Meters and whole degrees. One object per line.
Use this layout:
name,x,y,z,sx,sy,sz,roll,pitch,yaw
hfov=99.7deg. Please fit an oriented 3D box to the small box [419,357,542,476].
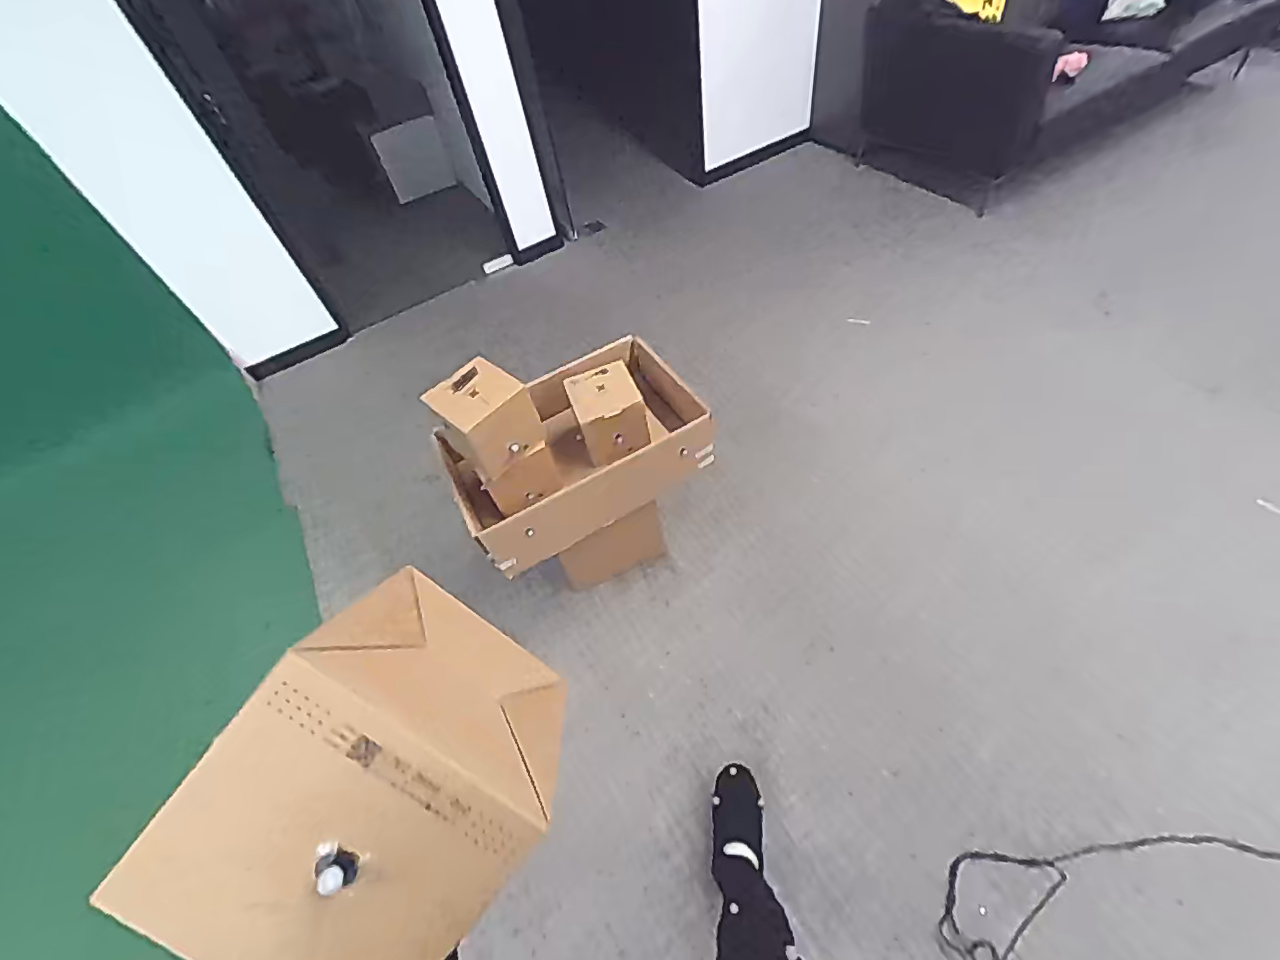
small box,-0.349,-0.138,1.206,0.179,0.176,0.168,34,65,29

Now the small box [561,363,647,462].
small box,-0.089,-0.166,1.393,0.168,0.176,0.179,-19,52,-7
